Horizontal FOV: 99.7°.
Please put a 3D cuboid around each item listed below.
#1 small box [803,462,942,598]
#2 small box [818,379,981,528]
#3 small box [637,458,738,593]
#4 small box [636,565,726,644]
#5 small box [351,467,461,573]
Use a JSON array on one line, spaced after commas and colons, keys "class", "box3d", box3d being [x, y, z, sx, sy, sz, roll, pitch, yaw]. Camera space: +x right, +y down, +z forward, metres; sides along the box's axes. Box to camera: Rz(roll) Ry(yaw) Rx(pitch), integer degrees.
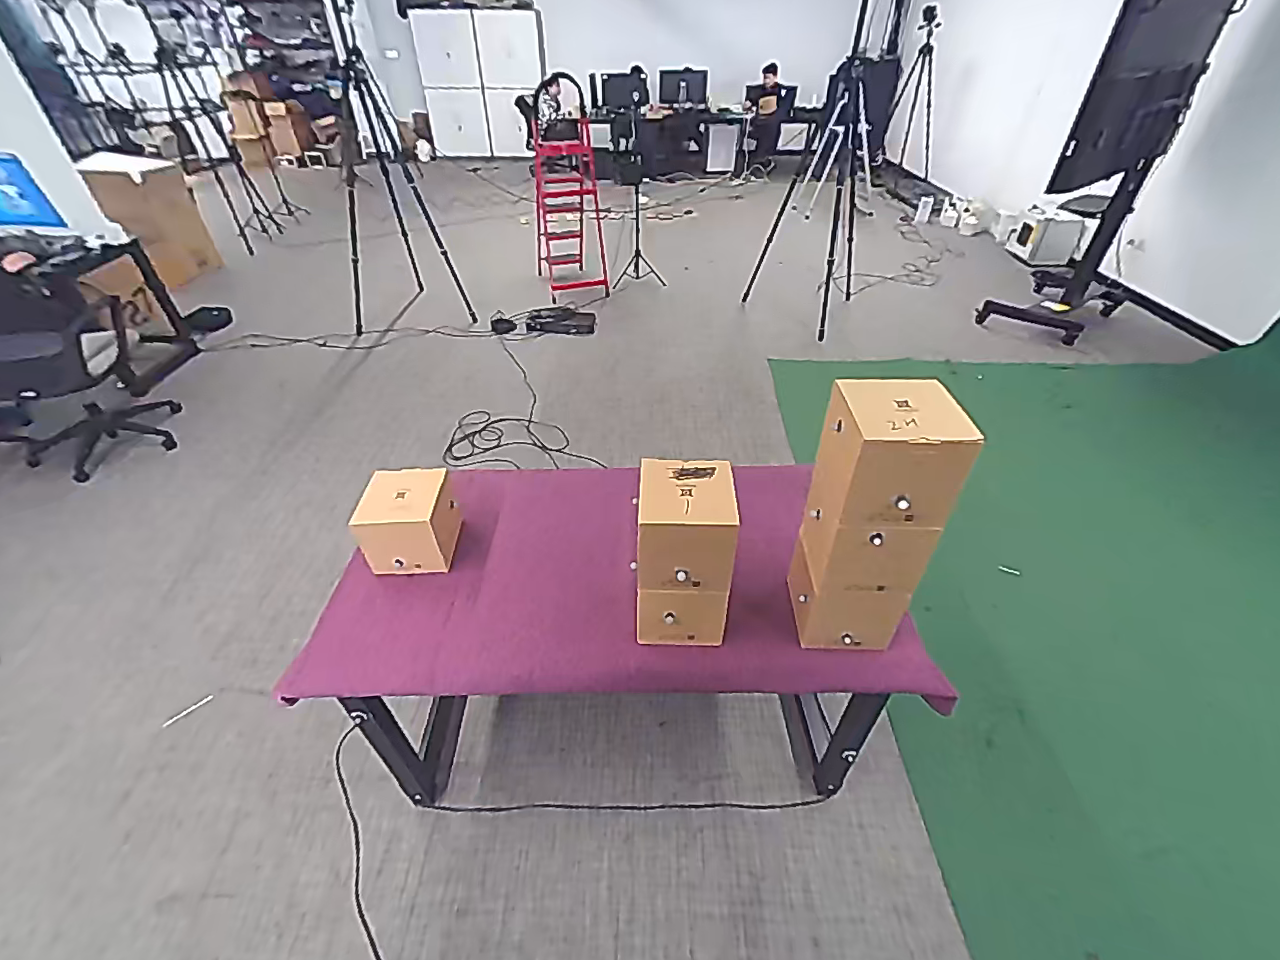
[{"class": "small box", "box3d": [0.397, 0.085, 0.963, 0.168, 0.176, 0.179, 1, 39, 4]}, {"class": "small box", "box3d": [0.394, -0.045, 0.861, 0.168, 0.176, 0.179, 1, 40, 3]}, {"class": "small box", "box3d": [0.081, 0.080, 0.977, 0.168, 0.176, 0.179, 1, 39, 2]}, {"class": "small box", "box3d": [0.080, 0.209, 1.078, 0.168, 0.176, 0.179, 1, 38, 2]}, {"class": "small box", "box3d": [-0.515, 0.090, 1.221, 0.168, 0.176, 0.179, -2, 41, -2]}]
